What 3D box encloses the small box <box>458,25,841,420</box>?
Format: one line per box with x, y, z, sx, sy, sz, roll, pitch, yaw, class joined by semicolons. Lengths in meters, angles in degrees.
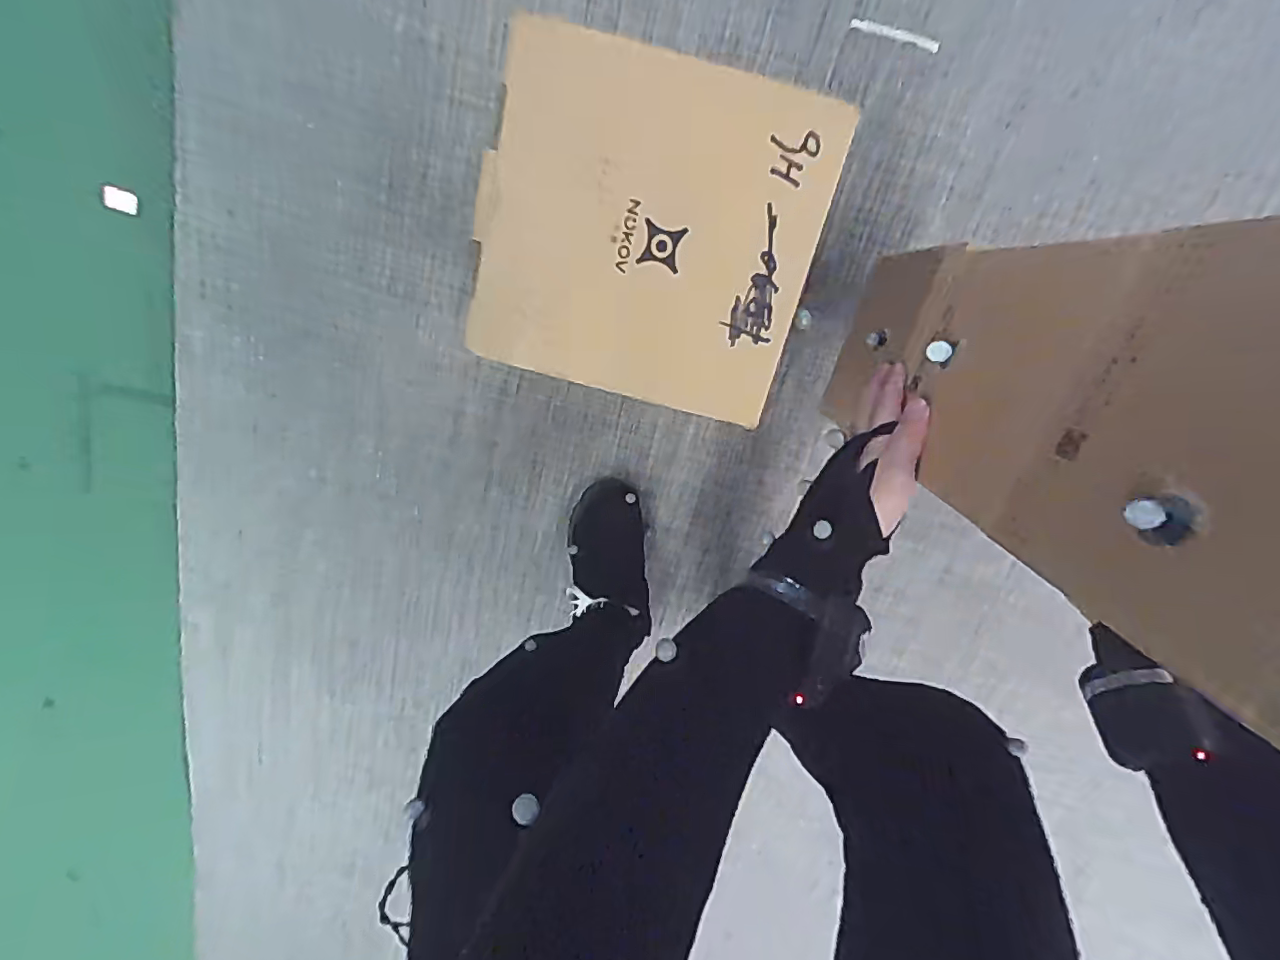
0.003;-0.153;0.369;0.179;0.176;0.168;15;108;0;small box

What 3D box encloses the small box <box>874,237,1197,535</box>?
0.296;-0.047;0.363;0.179;0.176;0.168;17;109;-4;small box
